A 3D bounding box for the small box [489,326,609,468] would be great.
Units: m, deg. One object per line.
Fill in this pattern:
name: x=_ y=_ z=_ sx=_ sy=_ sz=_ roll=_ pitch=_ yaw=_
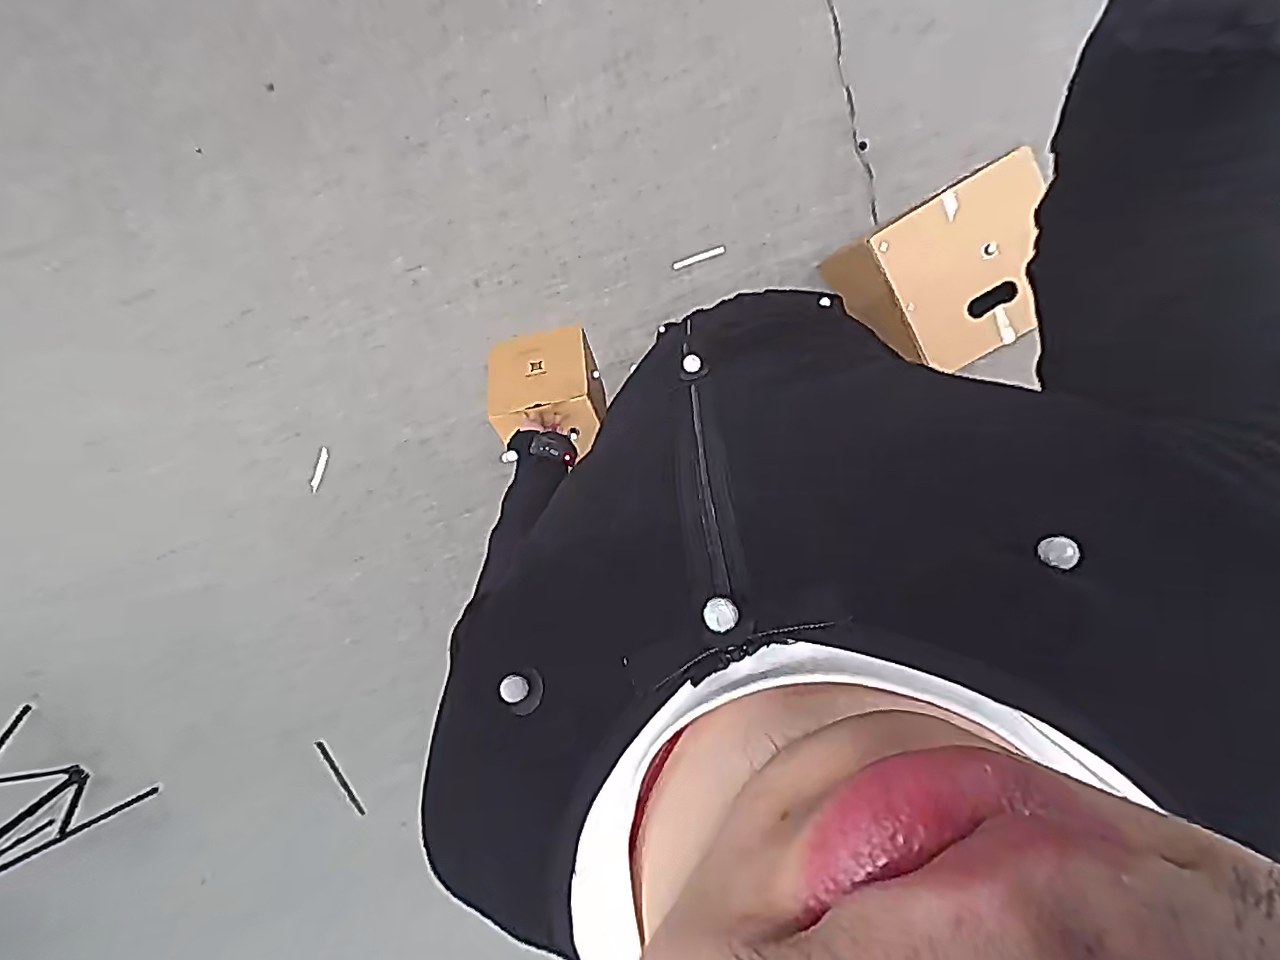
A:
small box: x=-0.156 y=-0.138 z=0.965 sx=0.168 sy=0.179 sz=0.176 roll=-12 pitch=145 yaw=4
